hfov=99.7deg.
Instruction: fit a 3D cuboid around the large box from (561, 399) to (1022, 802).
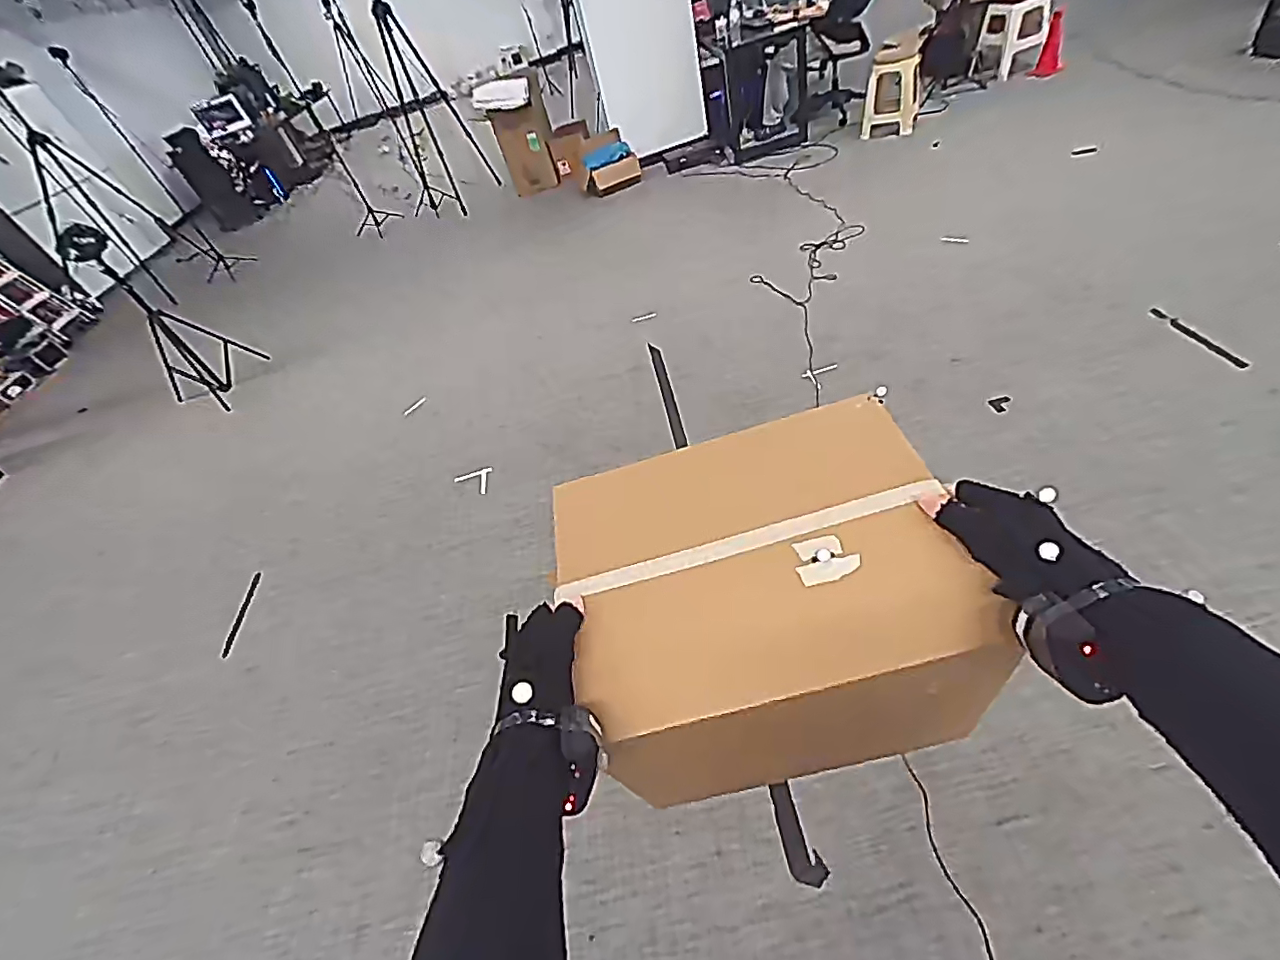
[{"bbox_3d":[0.148,0.161,0.679,0.408,0.320,0.320,-16,49,4],"label":"large box"}]
